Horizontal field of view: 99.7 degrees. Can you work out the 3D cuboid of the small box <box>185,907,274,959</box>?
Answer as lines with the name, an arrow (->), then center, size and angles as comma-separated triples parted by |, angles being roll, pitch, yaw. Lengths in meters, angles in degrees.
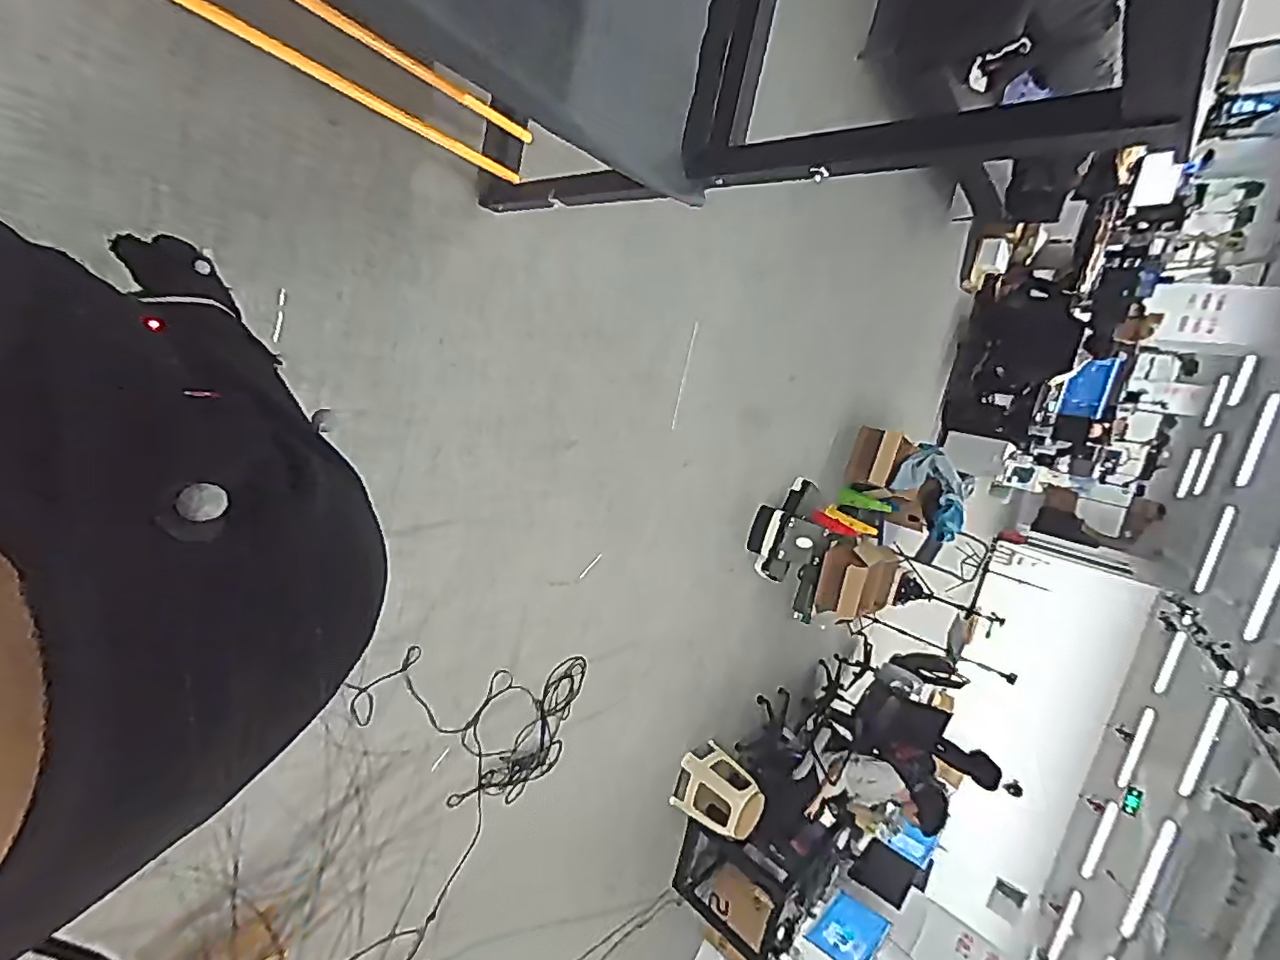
small box -> -1.140, 1.347, 1.491 | 0.168, 0.176, 0.179 | 5, 102, -50
